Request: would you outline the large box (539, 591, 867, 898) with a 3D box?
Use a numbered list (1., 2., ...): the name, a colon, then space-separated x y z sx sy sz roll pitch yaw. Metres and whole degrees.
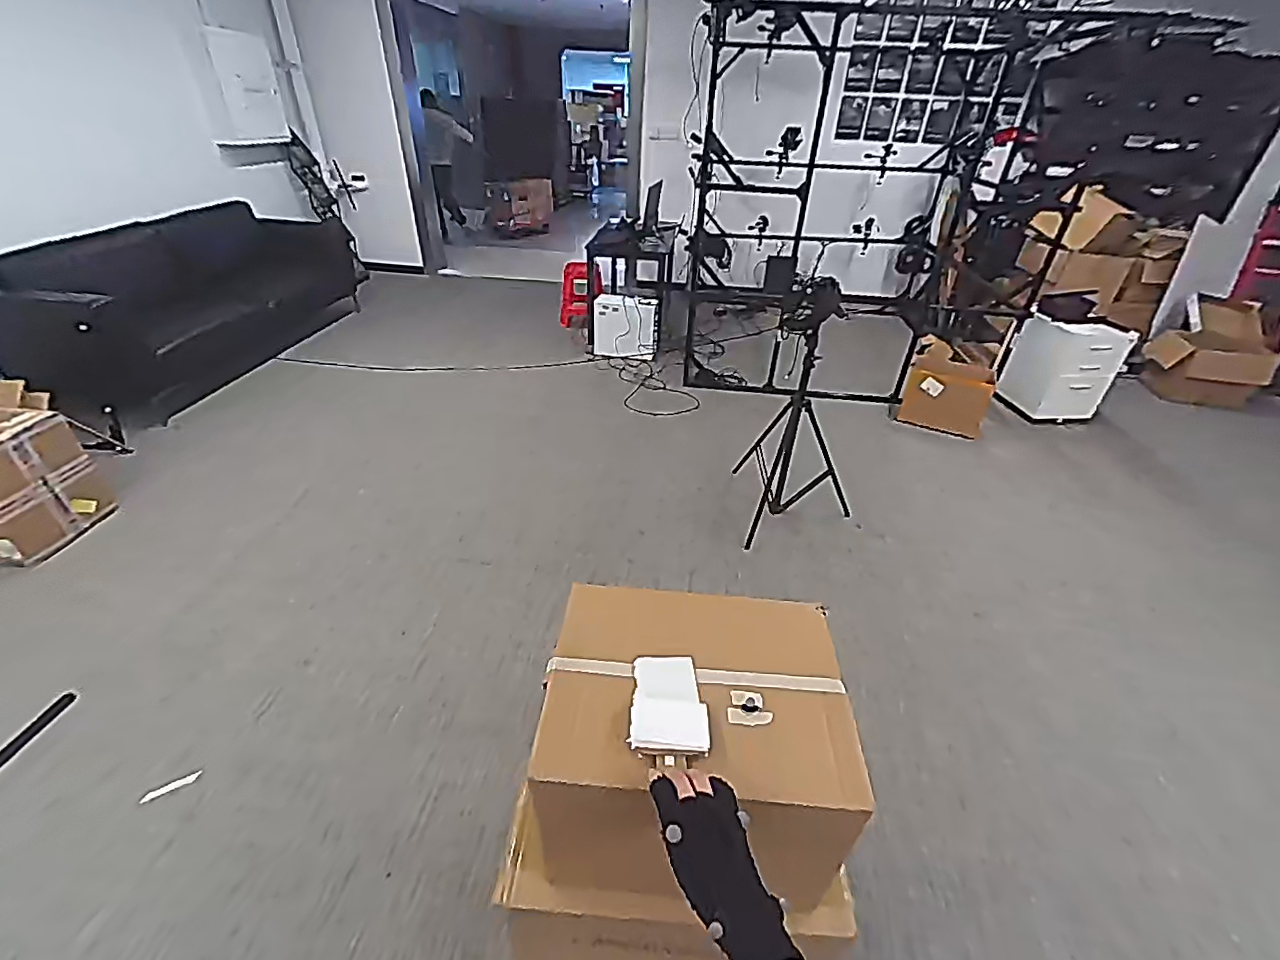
1. large box: 0.074 0.404 0.848 0.408 0.320 0.320 4 35 2
